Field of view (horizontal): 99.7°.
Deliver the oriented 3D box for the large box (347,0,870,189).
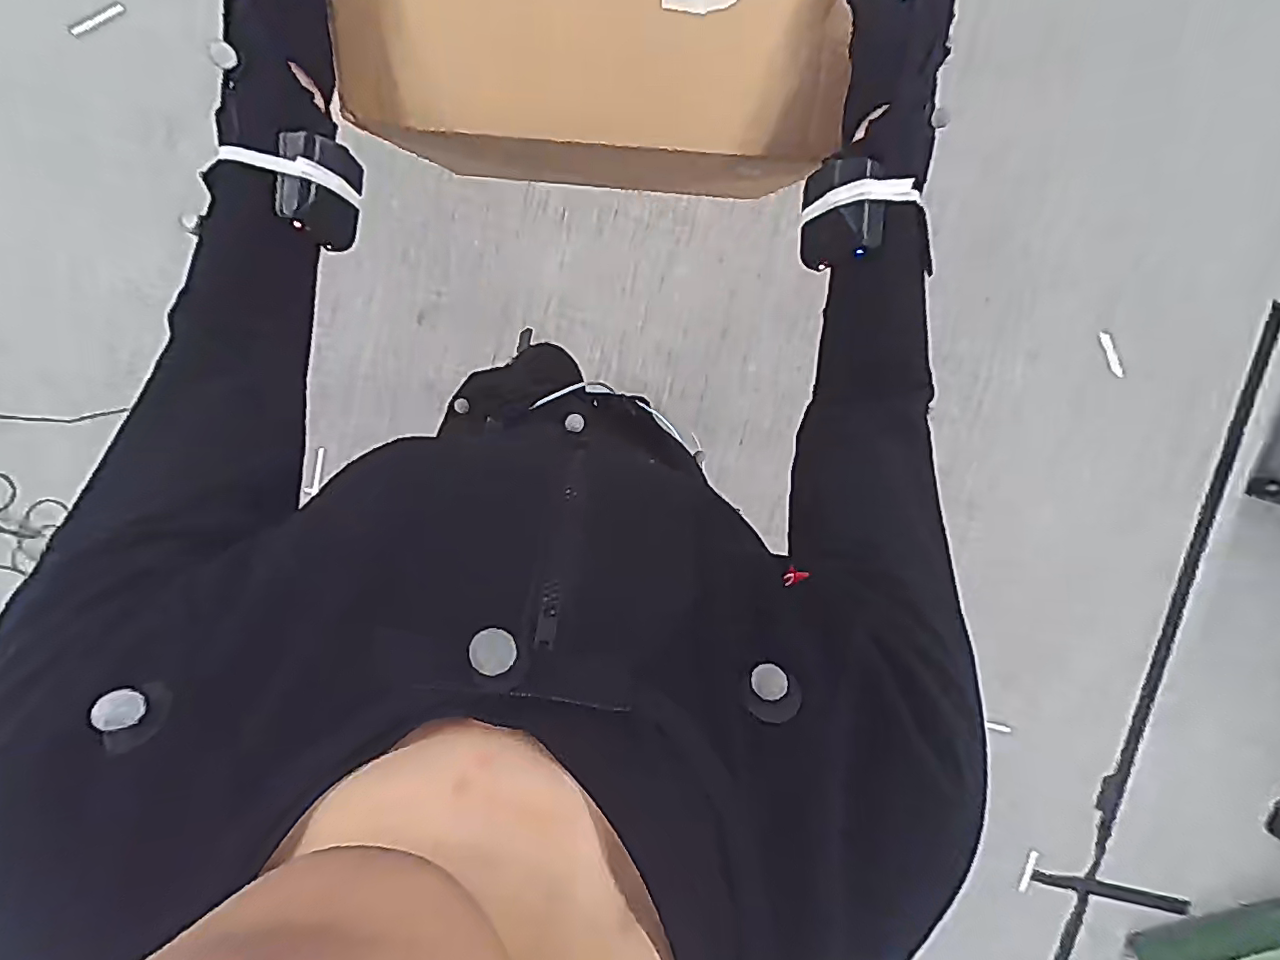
[{"bbox_3d":[-0.025,-0.480,0.522,0.408,0.320,0.320,2,113,-4],"label":"large box"}]
